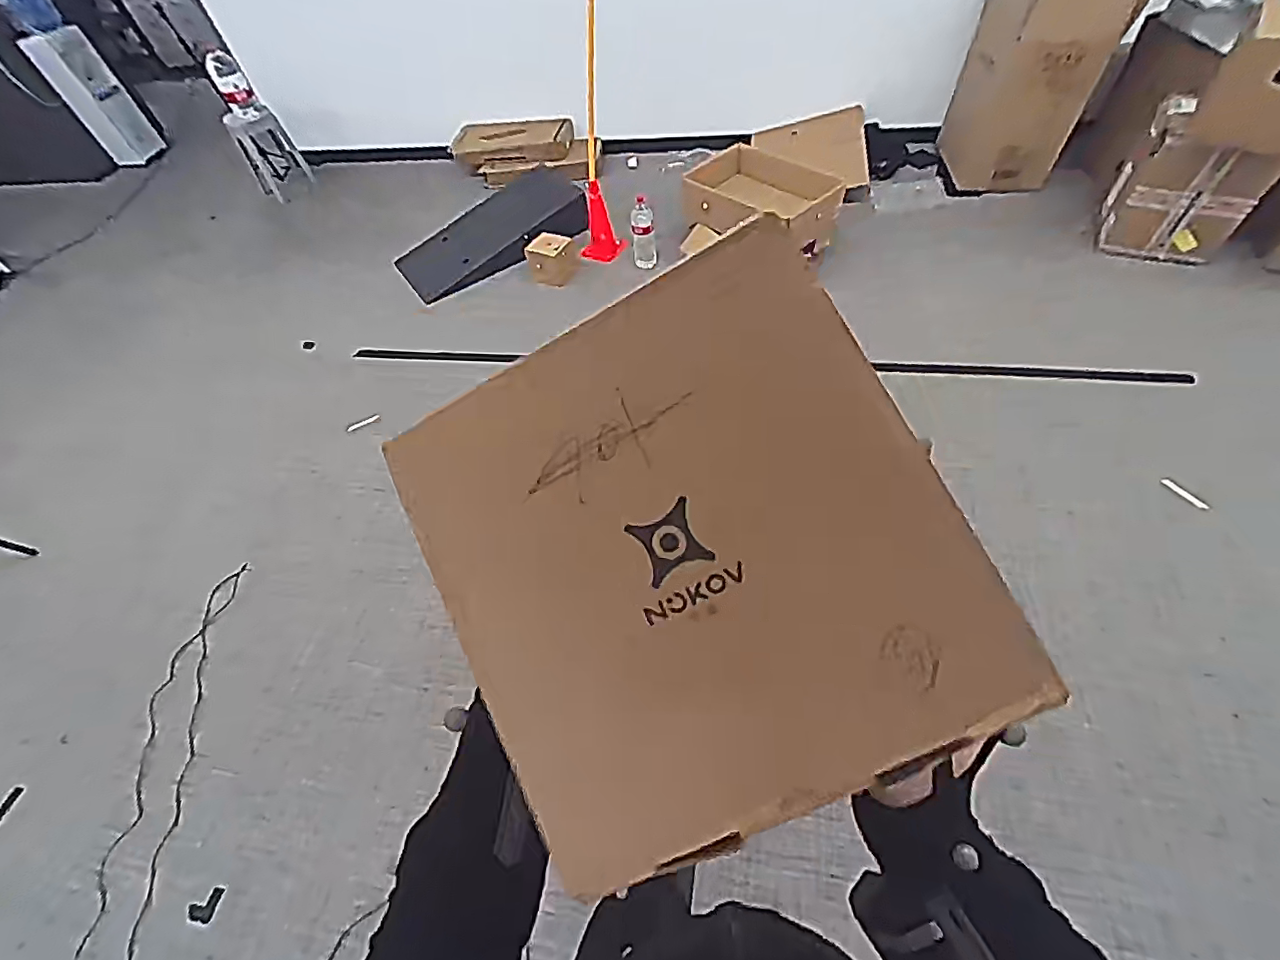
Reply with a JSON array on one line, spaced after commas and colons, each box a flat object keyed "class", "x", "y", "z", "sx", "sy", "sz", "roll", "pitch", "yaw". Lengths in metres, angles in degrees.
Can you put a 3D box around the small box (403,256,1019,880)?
[{"class": "small box", "x": 0.029, "y": 0.036, "z": 0.271, "sx": 0.168, "sy": 0.176, "sz": 0.179, "roll": -30, "pitch": 79, "yaw": 9}]
